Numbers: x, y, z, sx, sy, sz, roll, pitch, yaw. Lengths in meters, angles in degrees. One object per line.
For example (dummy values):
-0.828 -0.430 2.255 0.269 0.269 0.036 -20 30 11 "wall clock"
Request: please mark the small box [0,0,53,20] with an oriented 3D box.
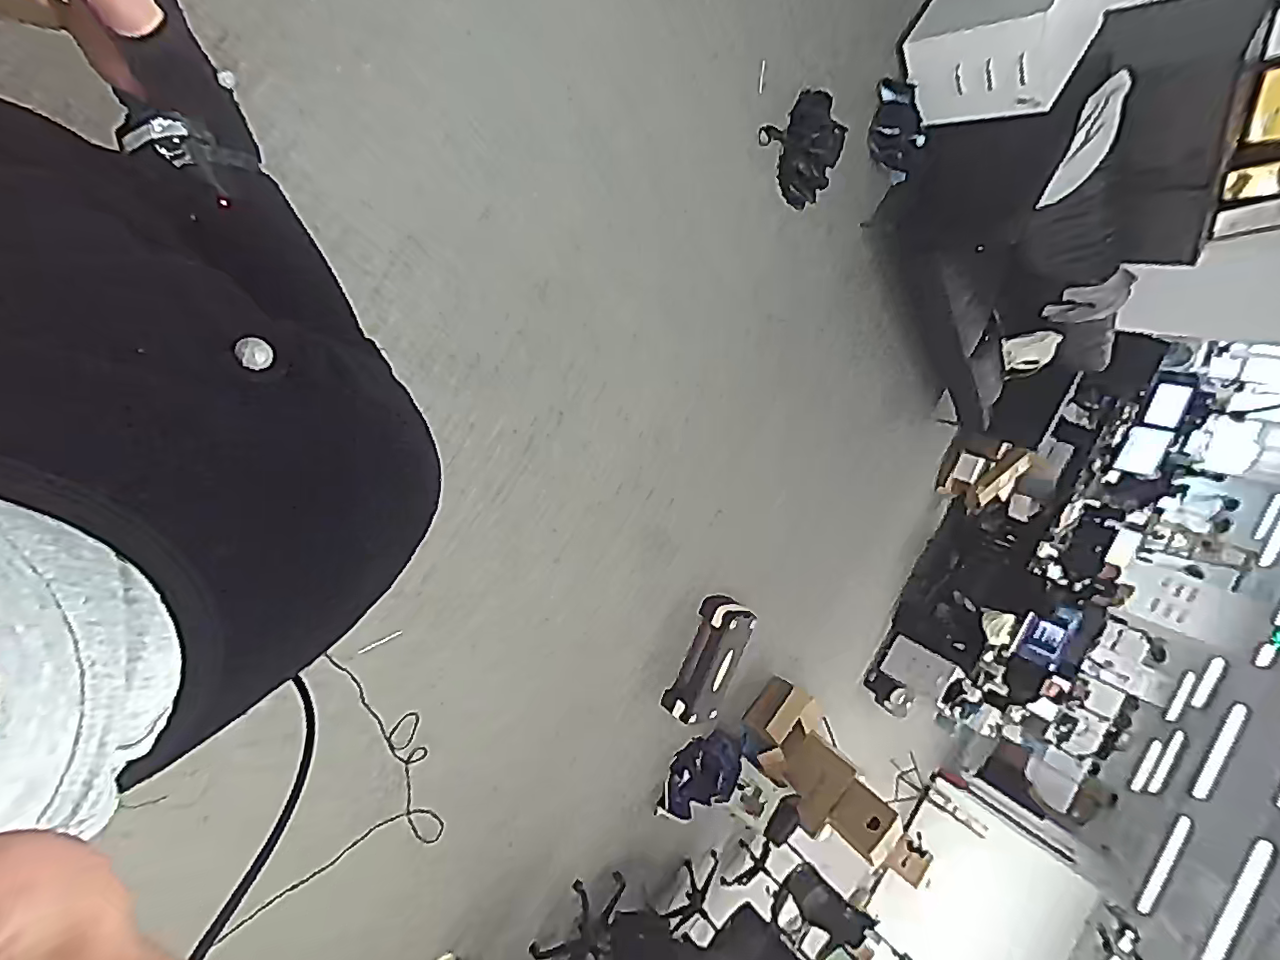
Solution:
-0.434 -0.358 0.260 0.168 0.176 0.179 -18 125 -36 "small box"
